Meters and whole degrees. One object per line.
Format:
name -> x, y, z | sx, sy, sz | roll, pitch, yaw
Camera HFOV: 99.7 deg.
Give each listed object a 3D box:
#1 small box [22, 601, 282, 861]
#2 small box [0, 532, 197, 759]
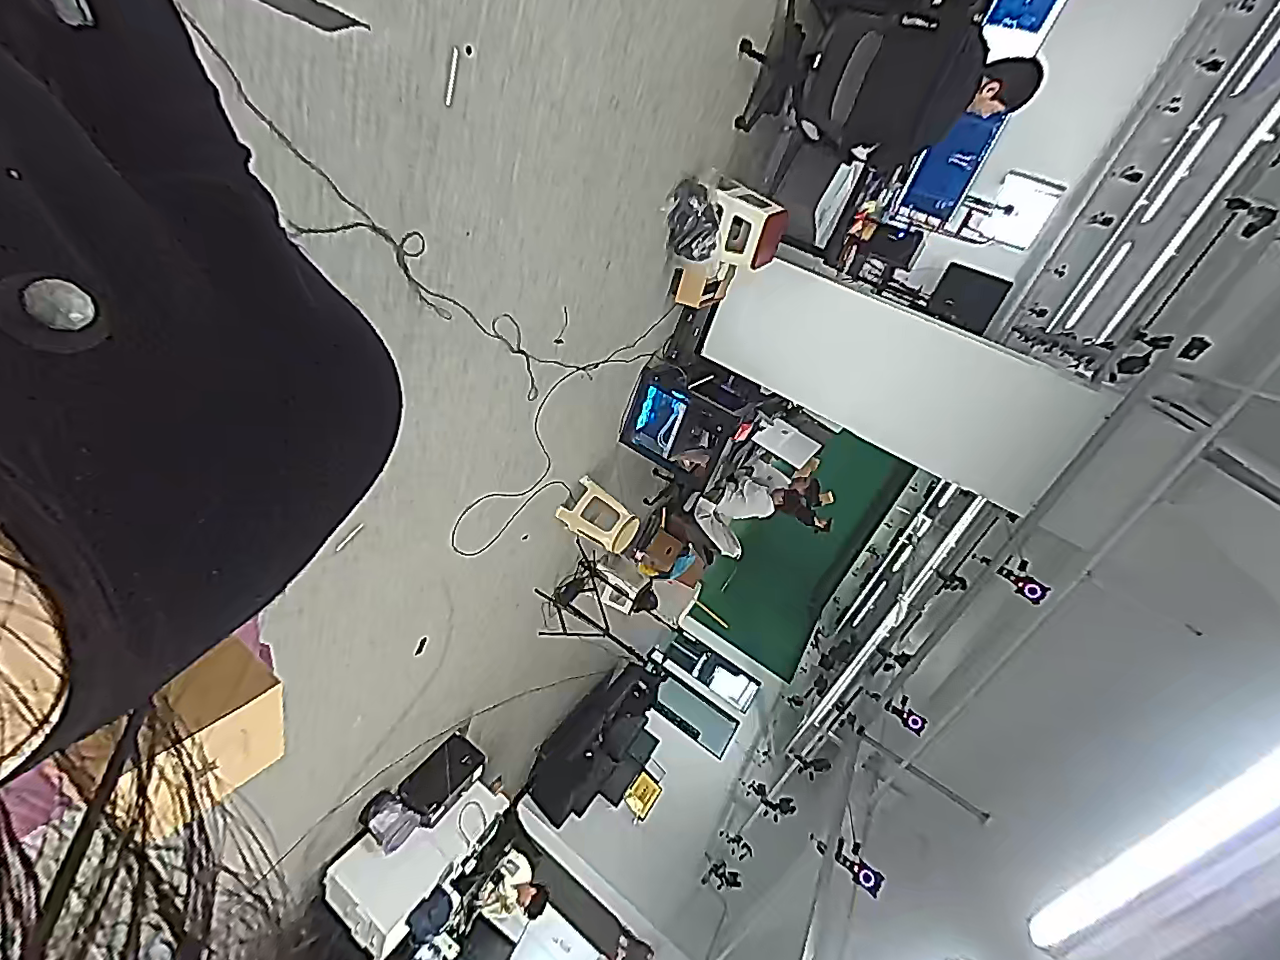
small box -> -0.559, 0.279, 0.633 | 0.179, 0.176, 0.168 | -34, 152, -54
small box -> -0.691, 0.198, 0.681 | 0.168, 0.176, 0.179 | -32, 149, -55
